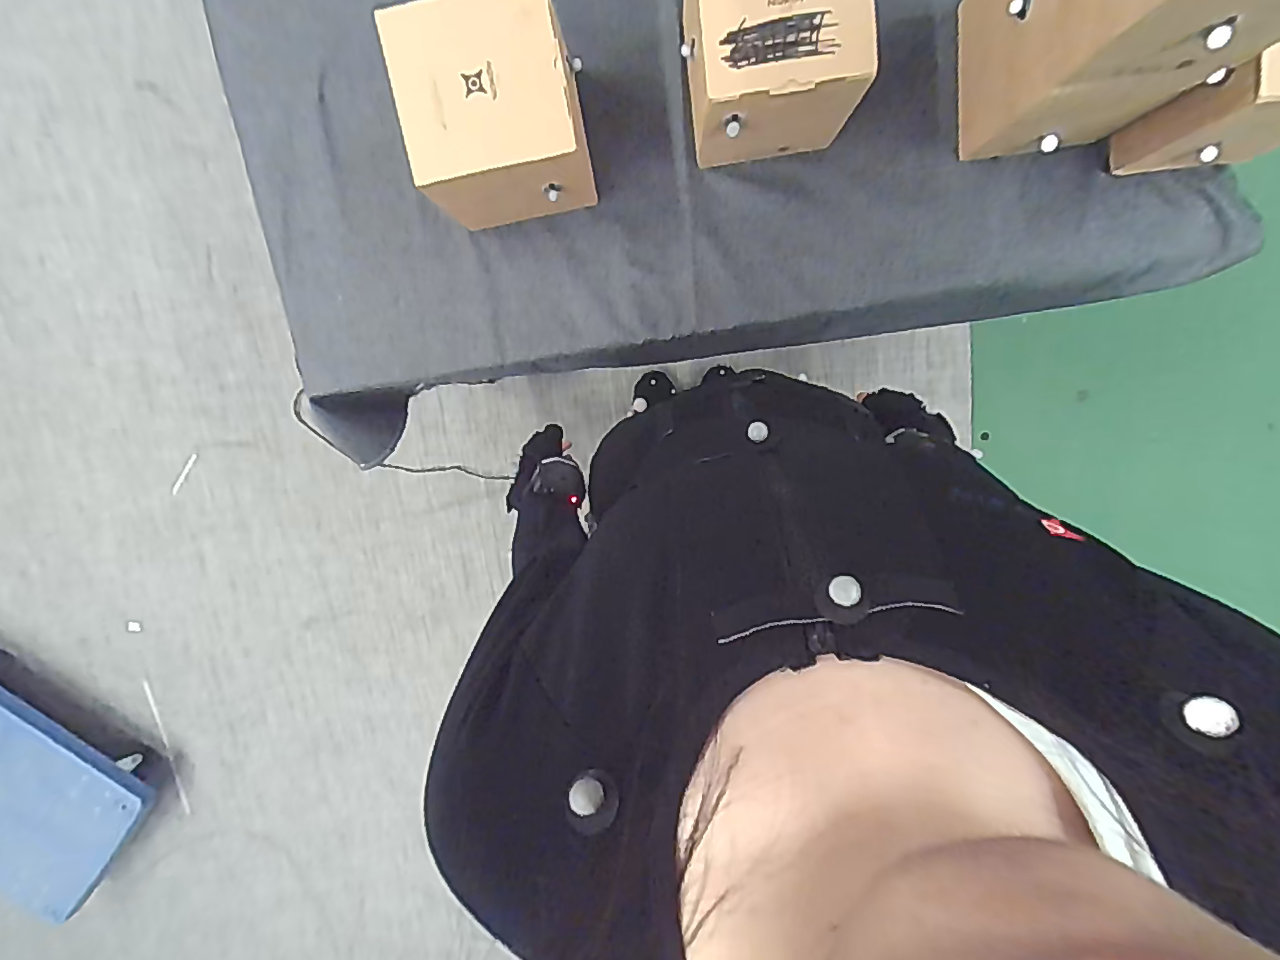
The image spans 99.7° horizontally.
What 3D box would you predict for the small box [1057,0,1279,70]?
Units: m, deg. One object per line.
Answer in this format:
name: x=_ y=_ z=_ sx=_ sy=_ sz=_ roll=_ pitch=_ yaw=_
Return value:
small box: x=0.462 y=-0.452 z=0.414 sx=0.168 sy=0.176 sz=0.179 roll=-4 pitch=100 yaw=3
